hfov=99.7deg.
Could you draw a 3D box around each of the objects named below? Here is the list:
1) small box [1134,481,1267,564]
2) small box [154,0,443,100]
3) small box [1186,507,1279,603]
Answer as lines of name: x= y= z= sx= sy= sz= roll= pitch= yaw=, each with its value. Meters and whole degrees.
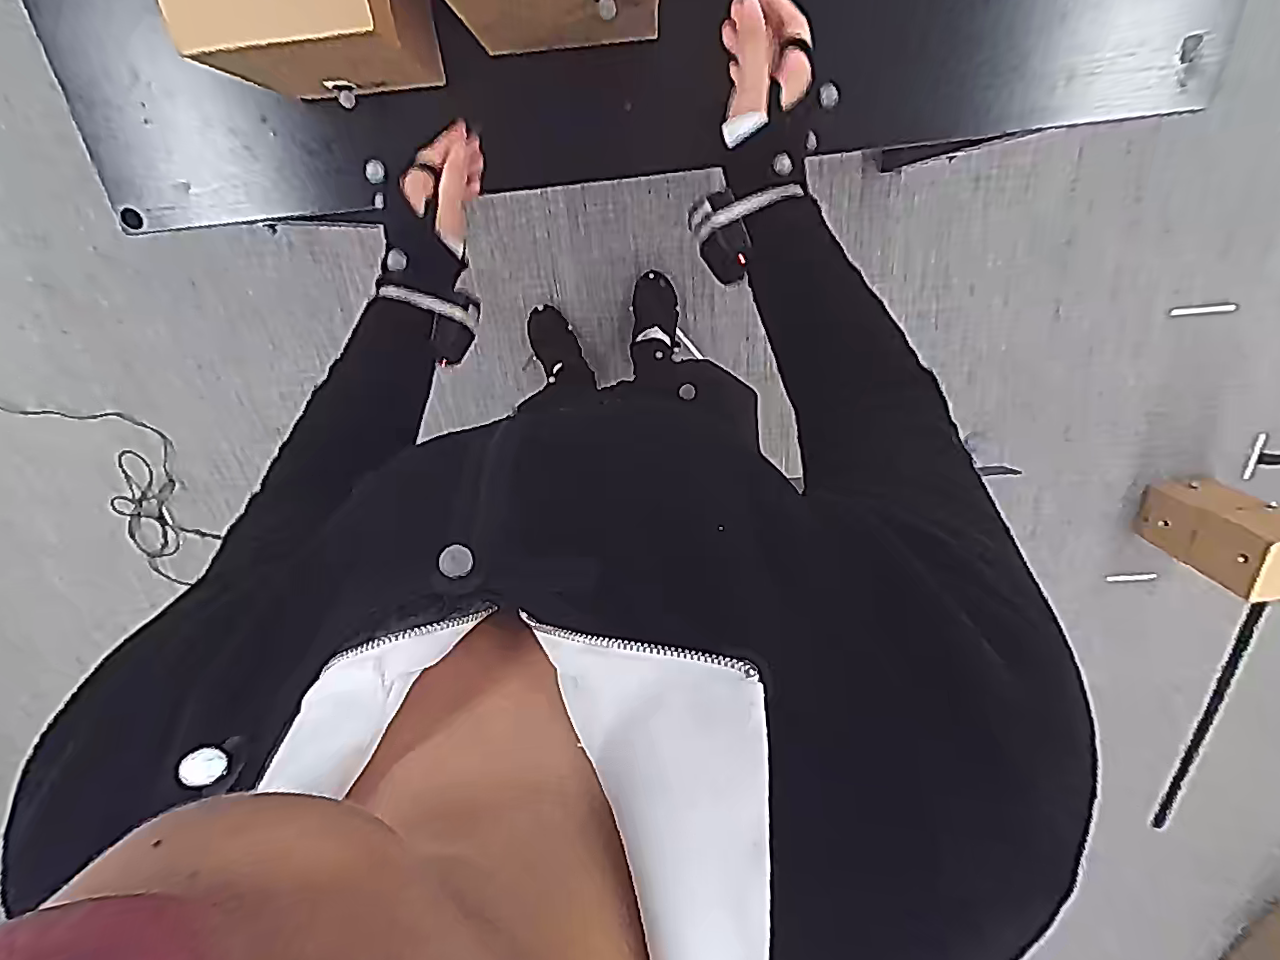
small box: x=1.530 y=0.113 z=1.491 sx=0.179 sy=0.176 sz=0.168 roll=-6 pitch=114 yaw=4
small box: x=-0.291 y=-0.454 z=0.459 sx=0.168 sy=0.176 sz=0.179 roll=-5 pitch=115 yaw=4
small box: x=1.524 y=0.176 z=1.337 sx=0.168 sy=0.176 sz=0.179 roll=-7 pitch=115 yaw=4
